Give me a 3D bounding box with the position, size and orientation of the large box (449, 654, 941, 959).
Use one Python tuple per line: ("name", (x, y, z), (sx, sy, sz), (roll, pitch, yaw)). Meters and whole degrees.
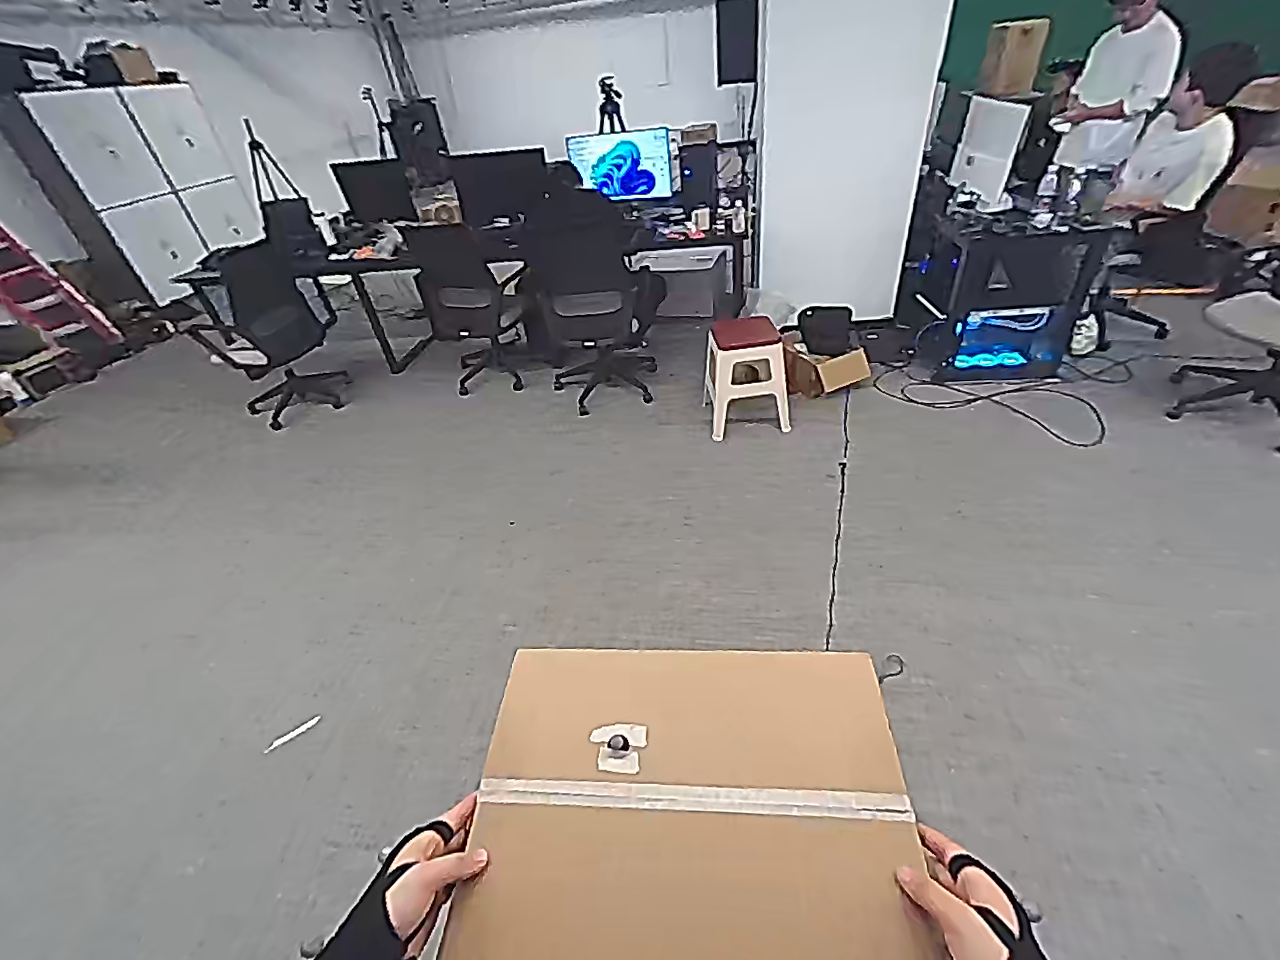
("large box", (0.062, 0.418, 0.617), (0.408, 0.320, 0.320), (-3, 41, 8))
